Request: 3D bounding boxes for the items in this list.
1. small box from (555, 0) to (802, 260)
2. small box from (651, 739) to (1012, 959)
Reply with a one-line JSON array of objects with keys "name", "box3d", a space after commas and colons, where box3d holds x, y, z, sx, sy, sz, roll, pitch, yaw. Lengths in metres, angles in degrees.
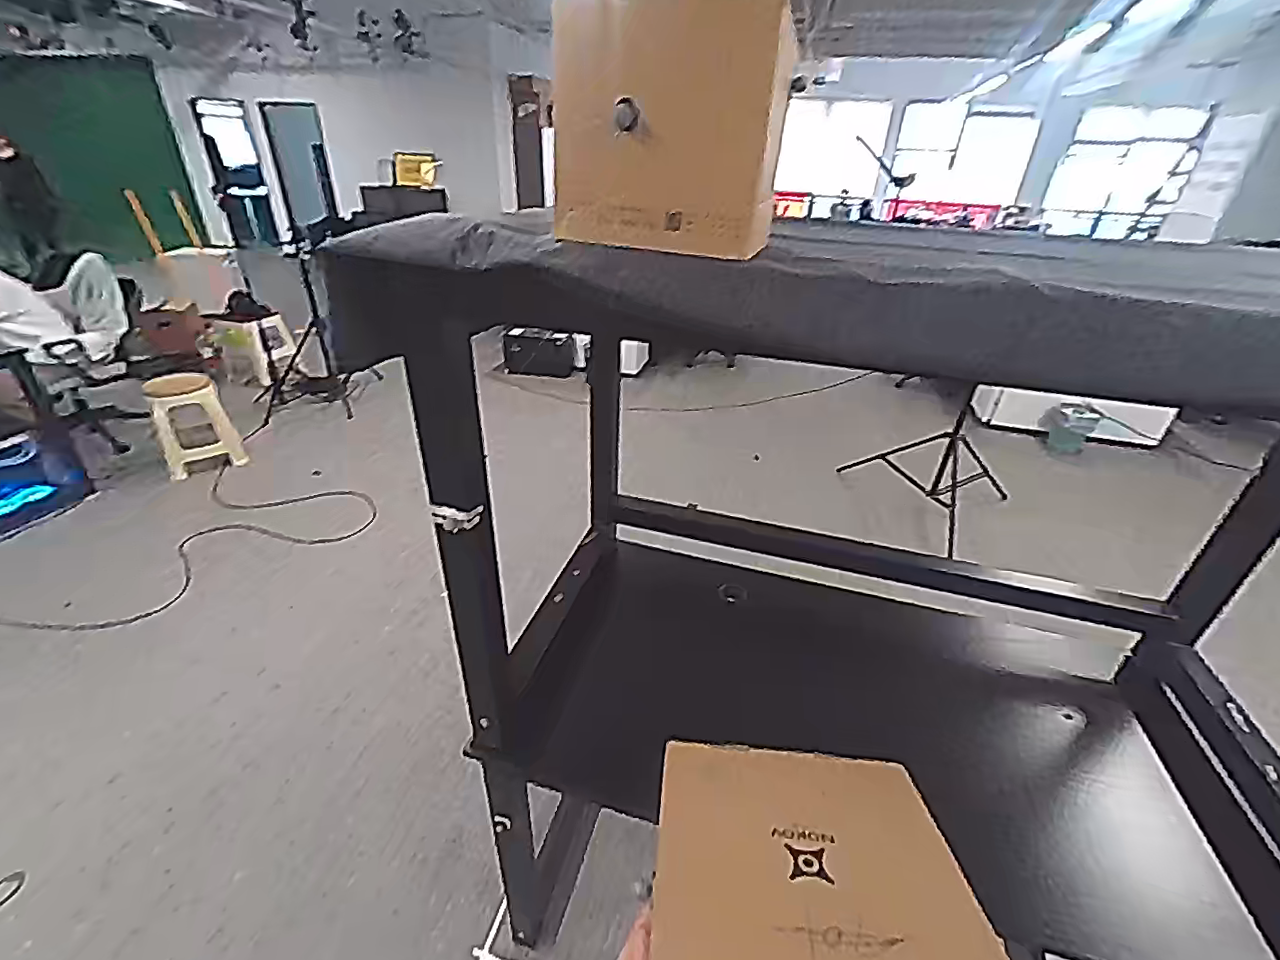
[{"name": "small box", "box3d": [0.038, -0.292, 0.471, 0.168, 0.176, 0.179, 12, 29, 13]}, {"name": "small box", "box3d": [0.089, 0.285, 0.310, 0.168, 0.176, 0.179, 2, 12, 5]}]
